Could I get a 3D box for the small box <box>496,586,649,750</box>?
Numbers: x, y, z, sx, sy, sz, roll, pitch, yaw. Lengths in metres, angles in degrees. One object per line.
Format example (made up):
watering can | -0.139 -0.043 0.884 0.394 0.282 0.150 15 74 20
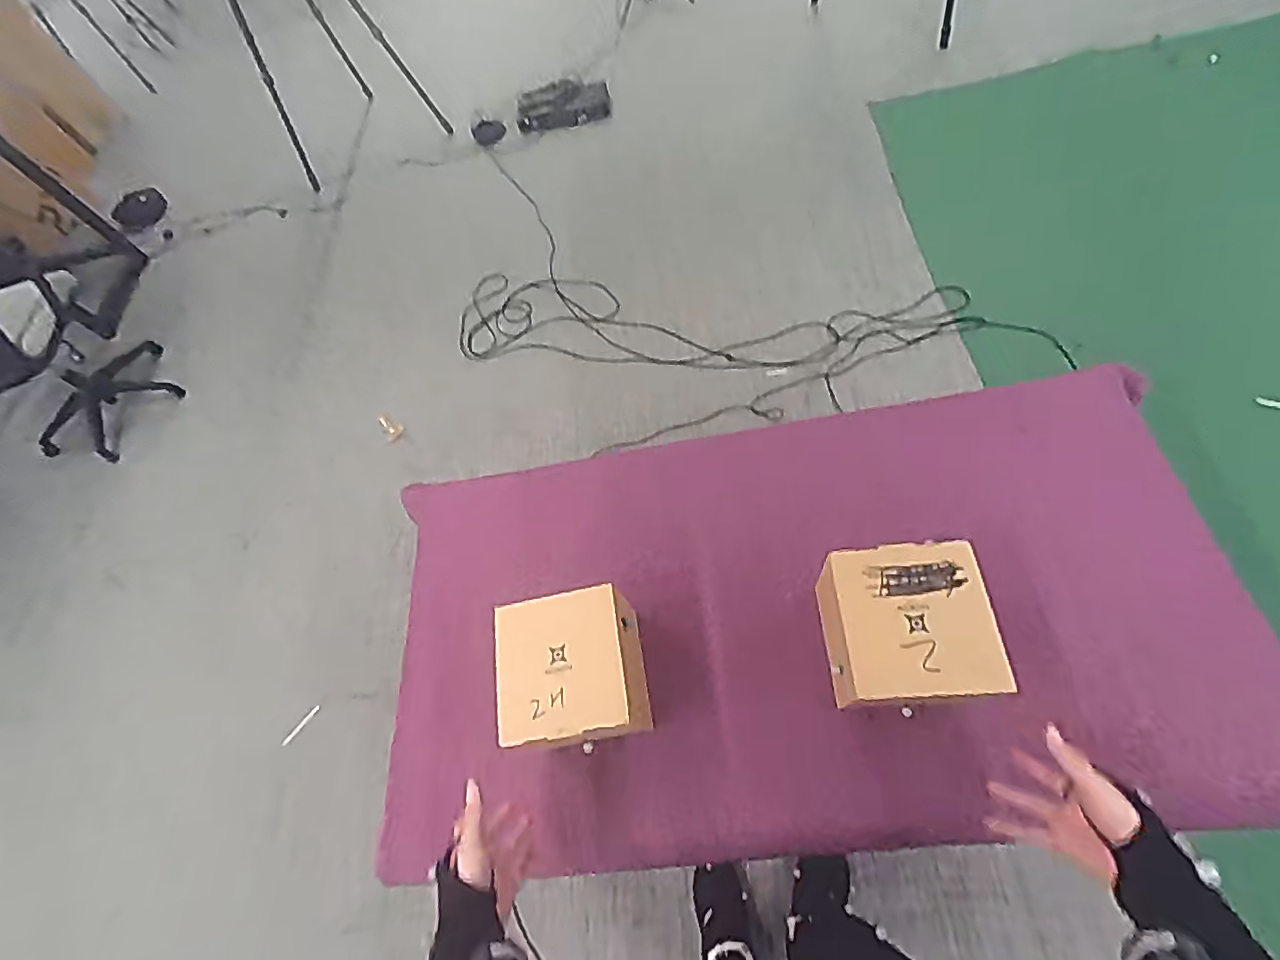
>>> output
small box | -0.090 0.268 0.755 0.168 0.176 0.179 -13 61 6
